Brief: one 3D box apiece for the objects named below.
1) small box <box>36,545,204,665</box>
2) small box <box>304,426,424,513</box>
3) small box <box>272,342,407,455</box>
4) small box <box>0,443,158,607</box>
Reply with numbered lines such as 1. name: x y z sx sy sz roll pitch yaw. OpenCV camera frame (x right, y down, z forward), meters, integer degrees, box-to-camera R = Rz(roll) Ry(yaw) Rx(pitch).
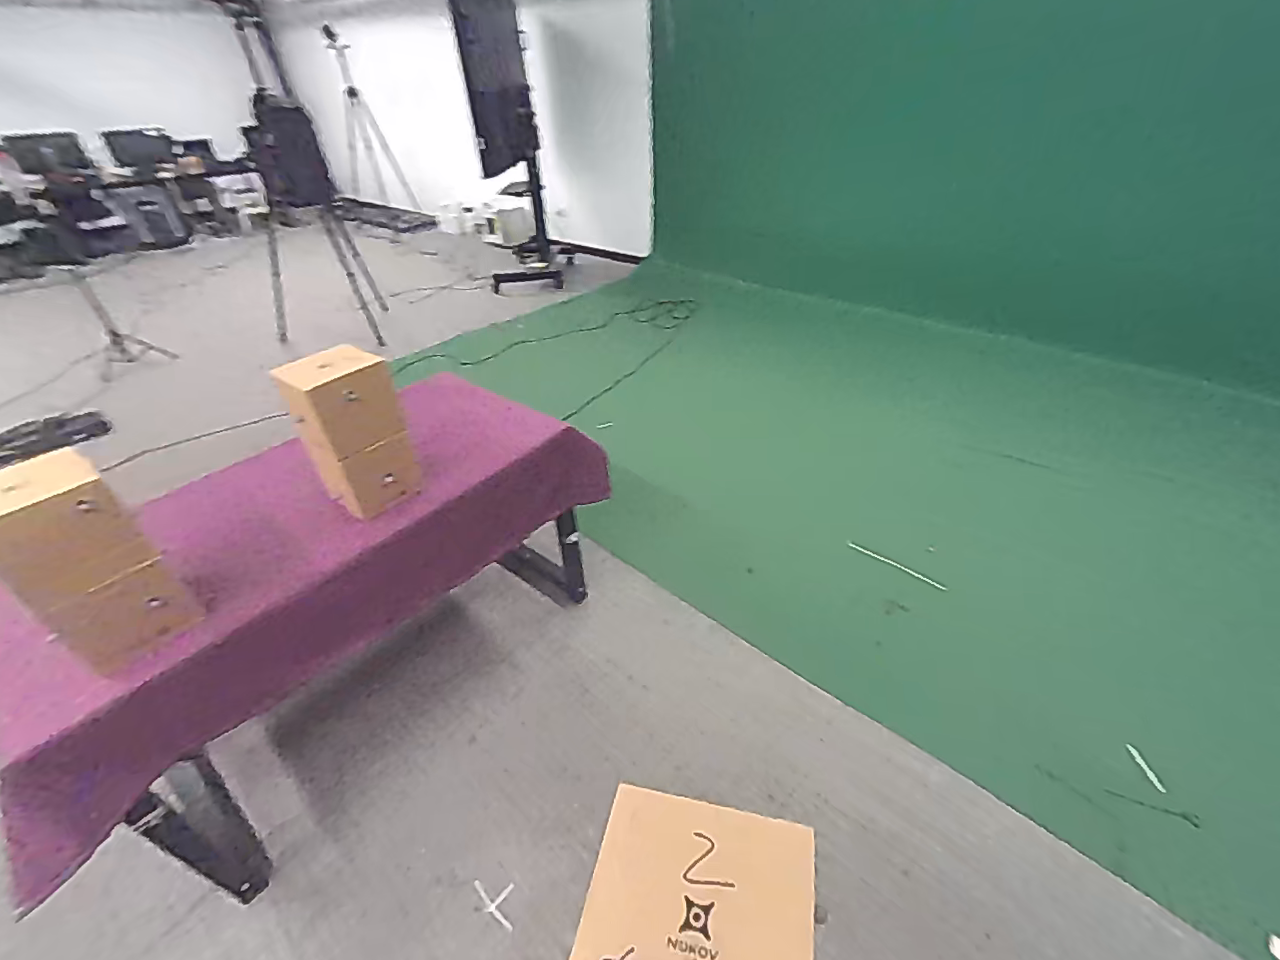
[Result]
1. small box: -0.935 0.199 0.968 0.179 0.176 0.168 23 43 30
2. small box: -0.642 -0.045 1.277 0.179 0.176 0.168 25 45 31
3. small box: -0.644 -0.177 1.177 0.168 0.176 0.179 25 44 31
4. small box: -0.942 0.071 0.869 0.168 0.176 0.179 22 41 29
